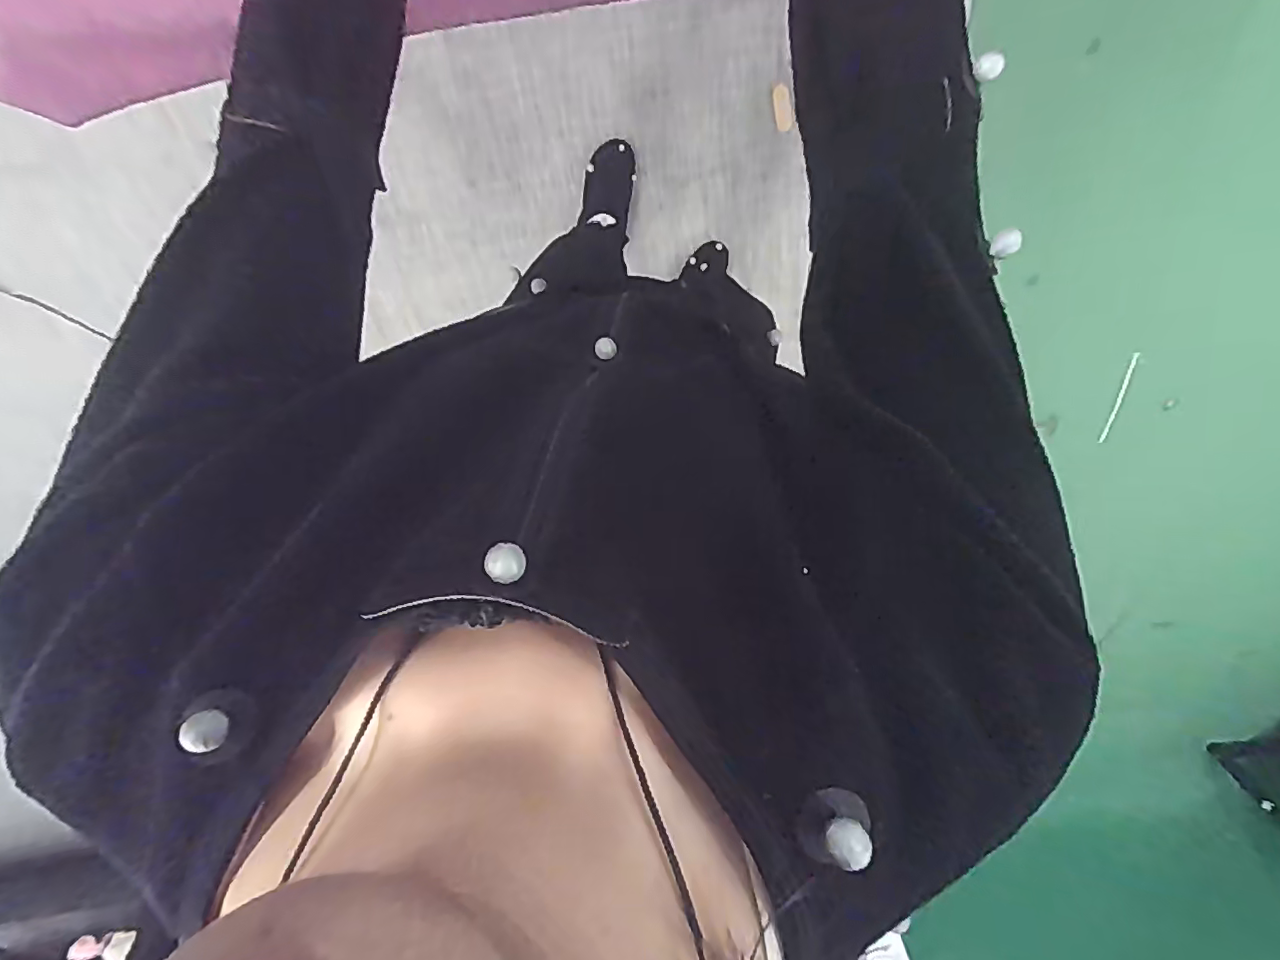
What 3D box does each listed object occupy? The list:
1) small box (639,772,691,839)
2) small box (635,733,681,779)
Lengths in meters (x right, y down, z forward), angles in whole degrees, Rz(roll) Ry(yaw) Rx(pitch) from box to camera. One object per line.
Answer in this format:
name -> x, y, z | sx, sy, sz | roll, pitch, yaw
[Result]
small box -> 0.096, 1.273, 2.121 | 0.179, 0.176, 0.168 | -11, 126, 4
small box -> 0.076, 1.175, 2.253 | 0.168, 0.176, 0.179 | -11, 125, 4
